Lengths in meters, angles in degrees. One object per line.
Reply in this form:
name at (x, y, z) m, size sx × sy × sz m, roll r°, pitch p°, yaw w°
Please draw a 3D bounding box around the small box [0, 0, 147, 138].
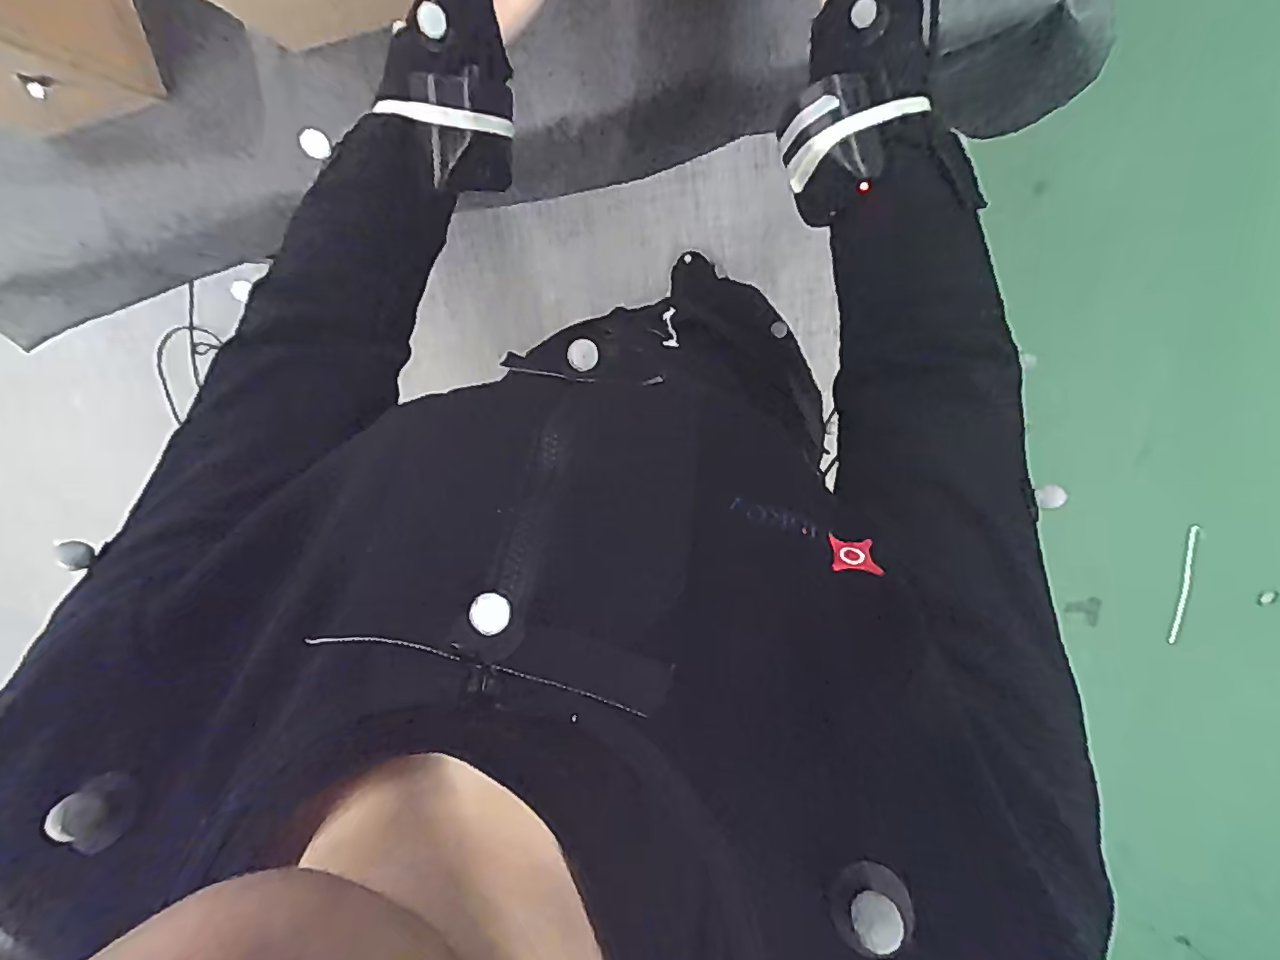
small box at (-0.584, -0.423, 0.463) m, size 0.179 × 0.176 × 0.168 m, roll -7°, pitch 106°, yaw 11°
